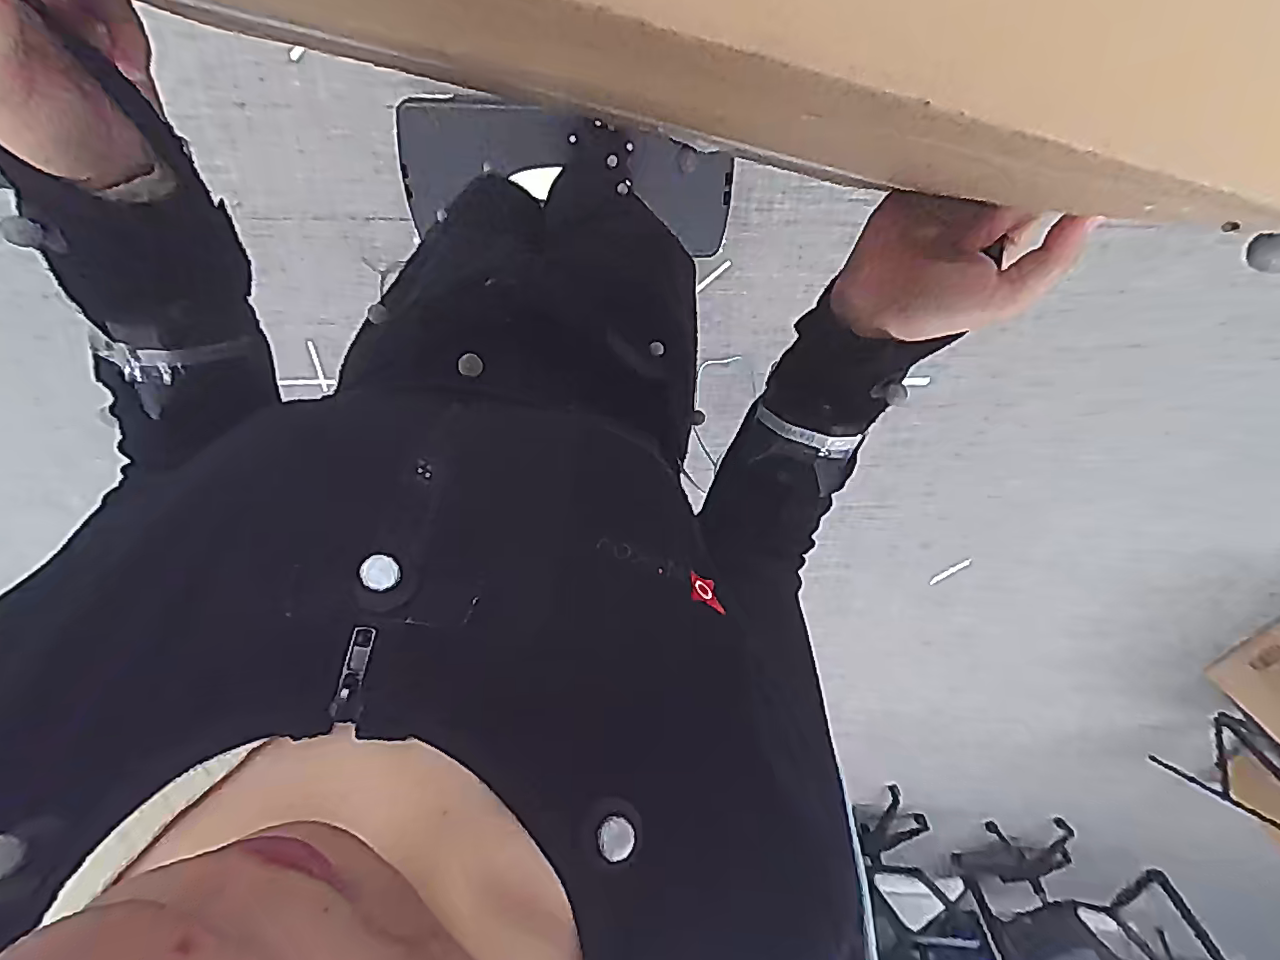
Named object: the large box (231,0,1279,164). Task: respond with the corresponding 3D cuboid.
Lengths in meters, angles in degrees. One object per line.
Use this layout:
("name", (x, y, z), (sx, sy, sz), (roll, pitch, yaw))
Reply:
("large box", (0.000, -0.306, 0.142), (0.408, 0.320, 0.320), (6, 122, -11))
